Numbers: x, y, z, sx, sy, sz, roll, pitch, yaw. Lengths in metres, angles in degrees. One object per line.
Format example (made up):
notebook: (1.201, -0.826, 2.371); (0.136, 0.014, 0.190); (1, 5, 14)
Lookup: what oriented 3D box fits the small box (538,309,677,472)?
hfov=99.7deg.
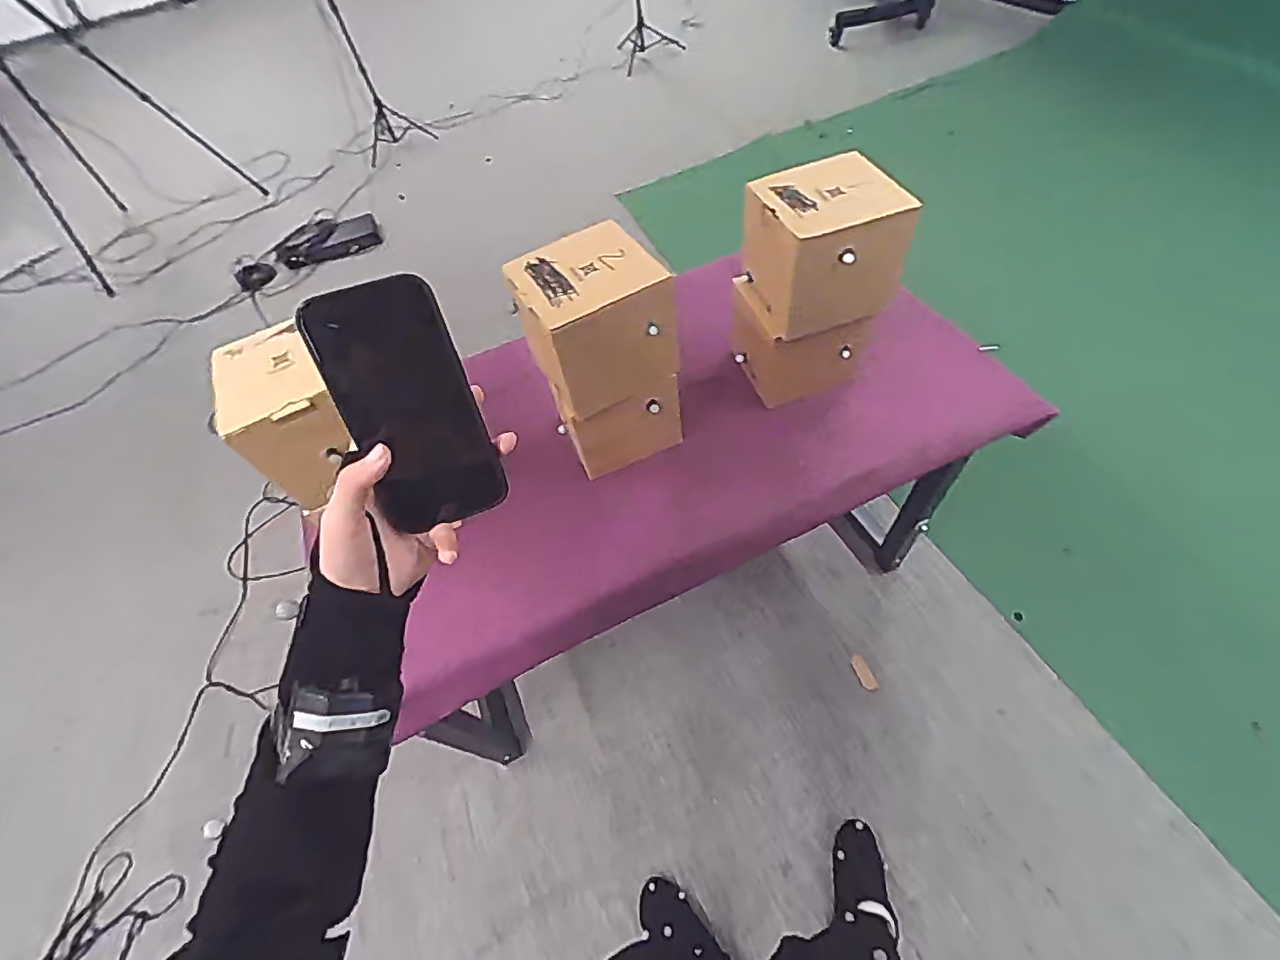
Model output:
small box: (-0.047, -0.145, 0.901); (0.179, 0.176, 0.168); (-24, 56, -7)

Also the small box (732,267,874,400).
small box: (0.268, -0.269, 0.937); (0.179, 0.176, 0.168); (-19, 55, -3)

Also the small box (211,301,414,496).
small box: (-0.434, -0.101, 0.735); (0.168, 0.176, 0.179); (-27, 57, -10)

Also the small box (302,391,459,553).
small box: (-0.410, -0.004, 0.865); (0.168, 0.176, 0.179); (-23, 56, -7)

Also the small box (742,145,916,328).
small box: (0.261, -0.351, 0.796); (0.179, 0.176, 0.168); (-19, 55, -4)
